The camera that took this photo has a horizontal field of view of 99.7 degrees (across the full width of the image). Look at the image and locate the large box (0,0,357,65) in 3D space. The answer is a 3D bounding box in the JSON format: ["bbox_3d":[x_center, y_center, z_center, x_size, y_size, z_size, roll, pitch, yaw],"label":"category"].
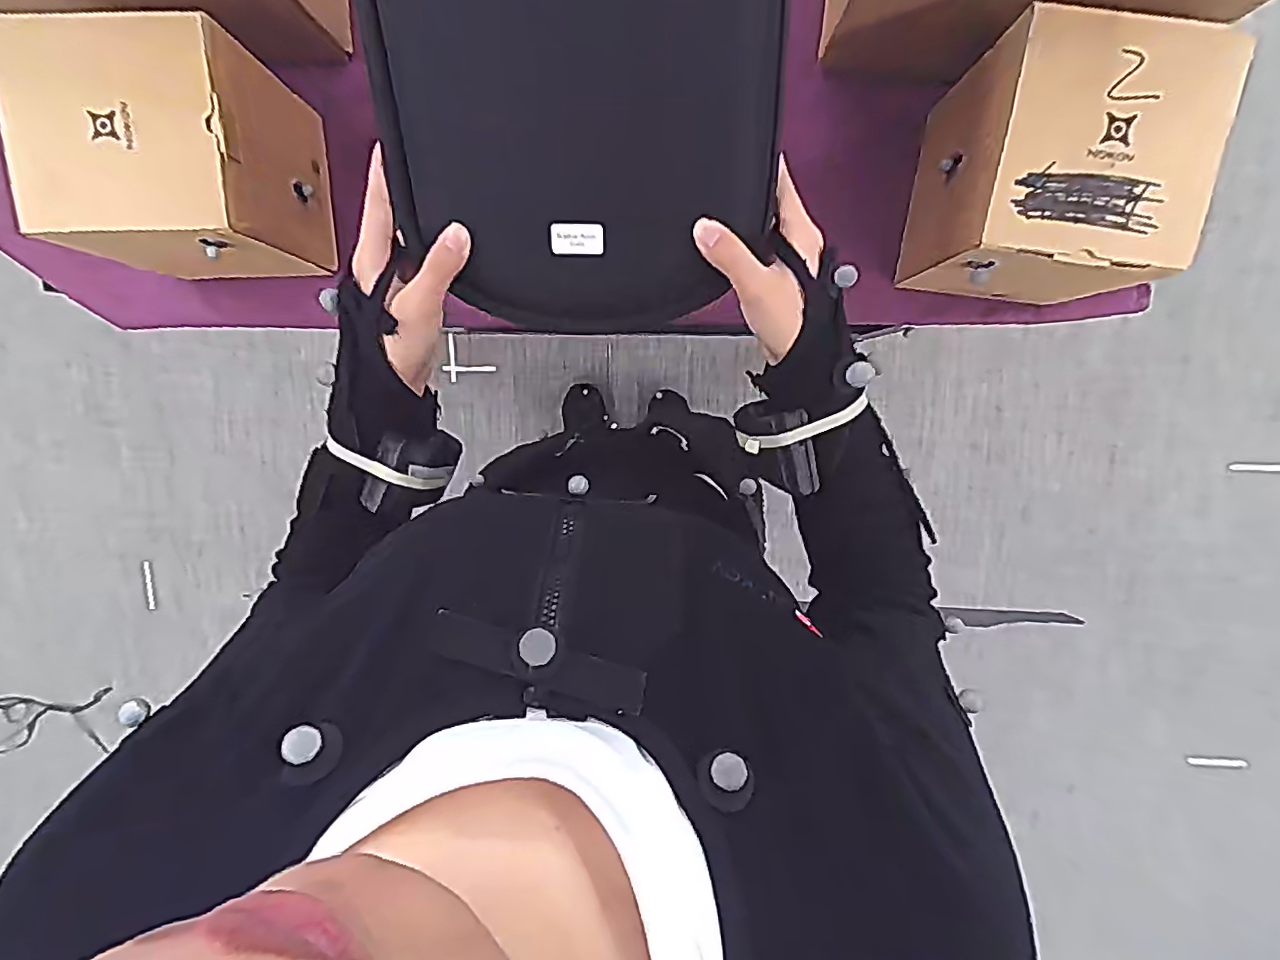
[{"bbox_3d":[-0.456,-0.616,0.403,0.320,0.320,0.408,0,102,1],"label":"large box"}]
